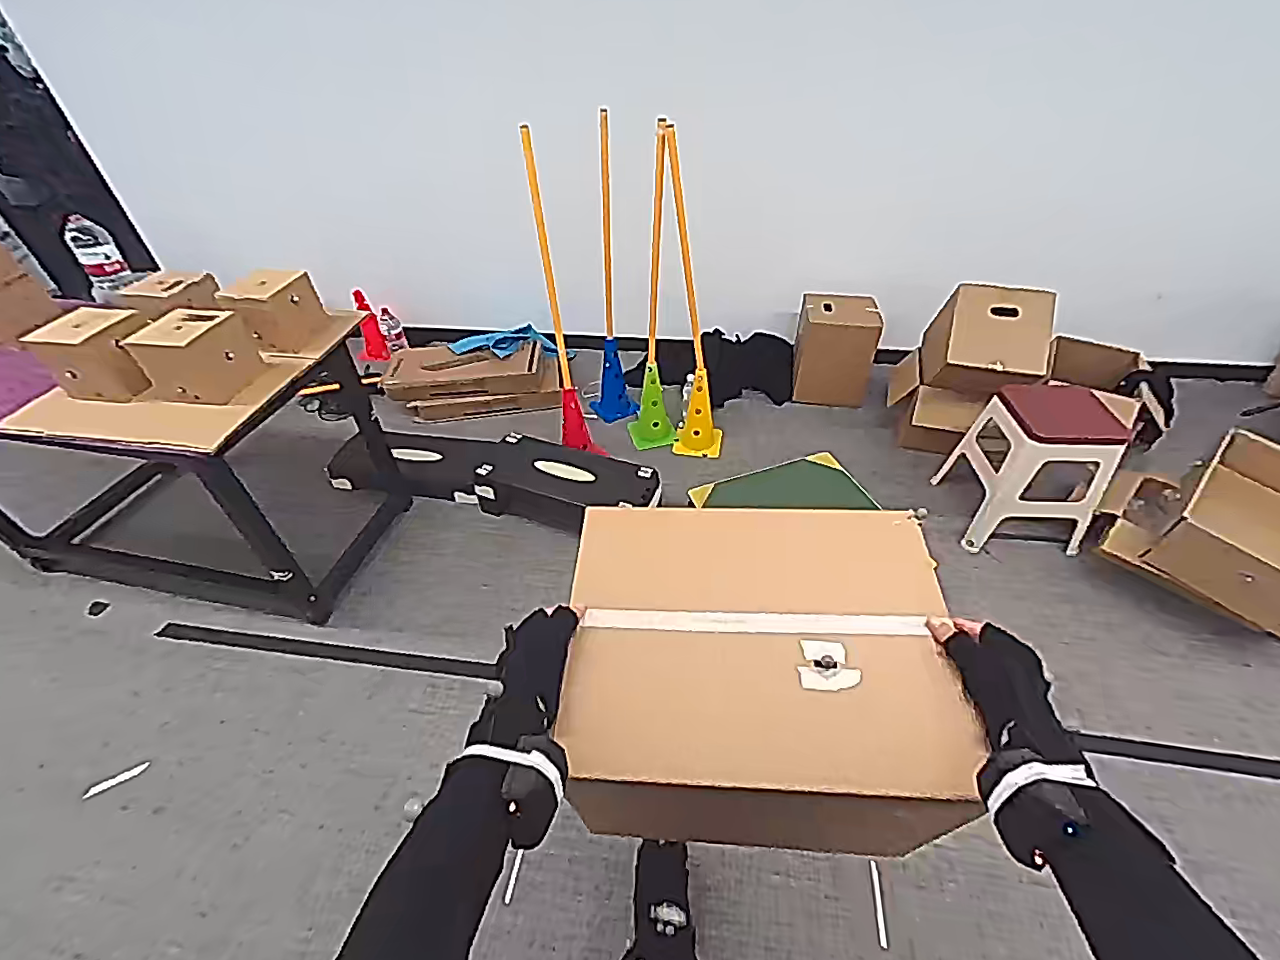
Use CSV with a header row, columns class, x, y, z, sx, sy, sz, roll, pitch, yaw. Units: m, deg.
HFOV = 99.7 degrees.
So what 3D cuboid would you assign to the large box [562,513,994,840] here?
class,x,y,z,sx,sy,sz,roll,pitch,yaw
large box,0.137,0.256,0.706,0.408,0.320,0.320,0,49,5
